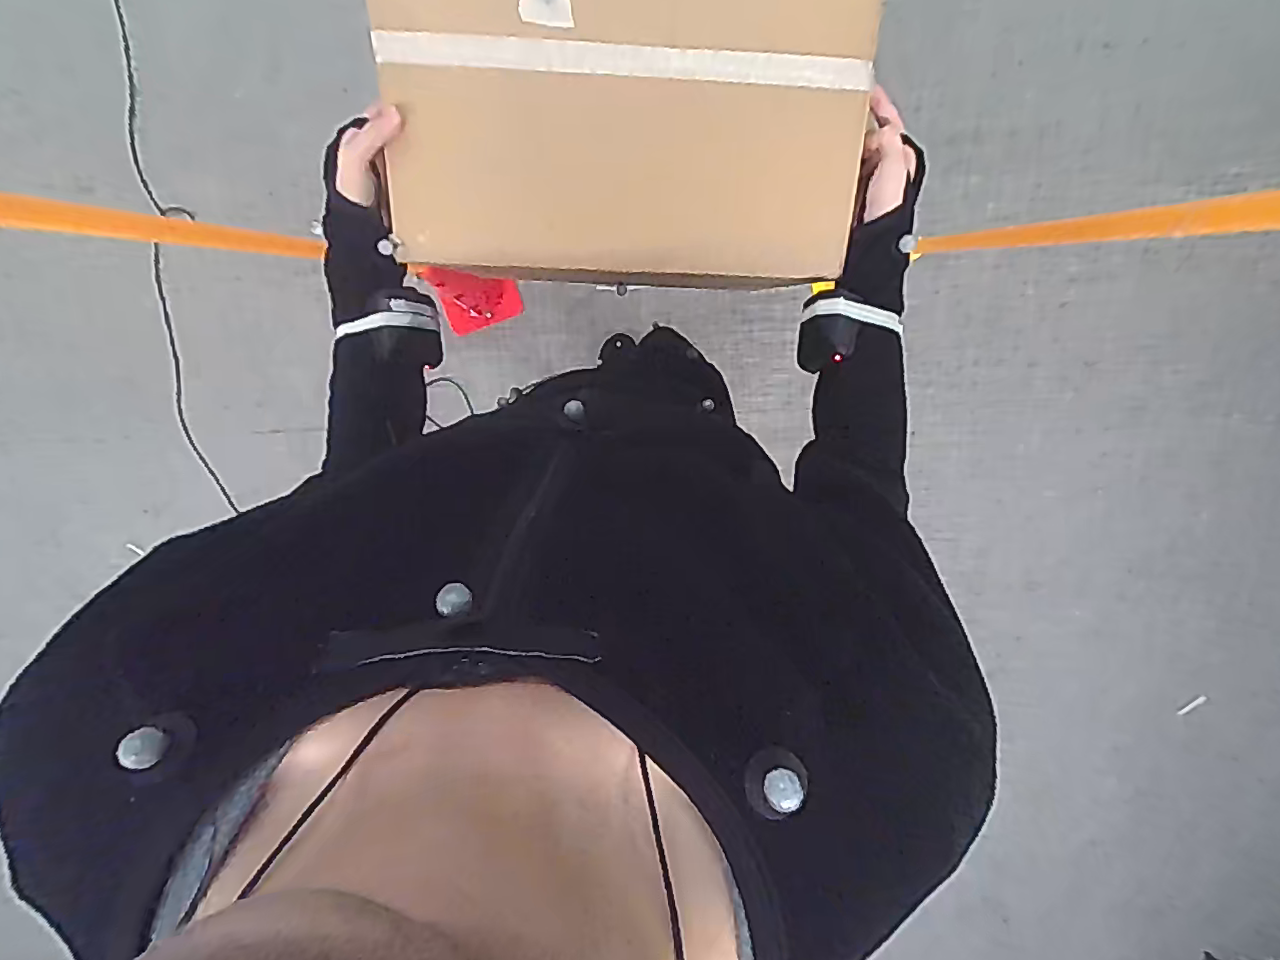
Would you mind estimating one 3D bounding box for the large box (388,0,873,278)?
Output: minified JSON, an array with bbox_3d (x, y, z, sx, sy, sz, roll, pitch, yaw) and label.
[{"bbox_3d":[-0.010,-0.393,0.596,0.408,0.320,0.320,1,107,-2],"label":"large box"}]
